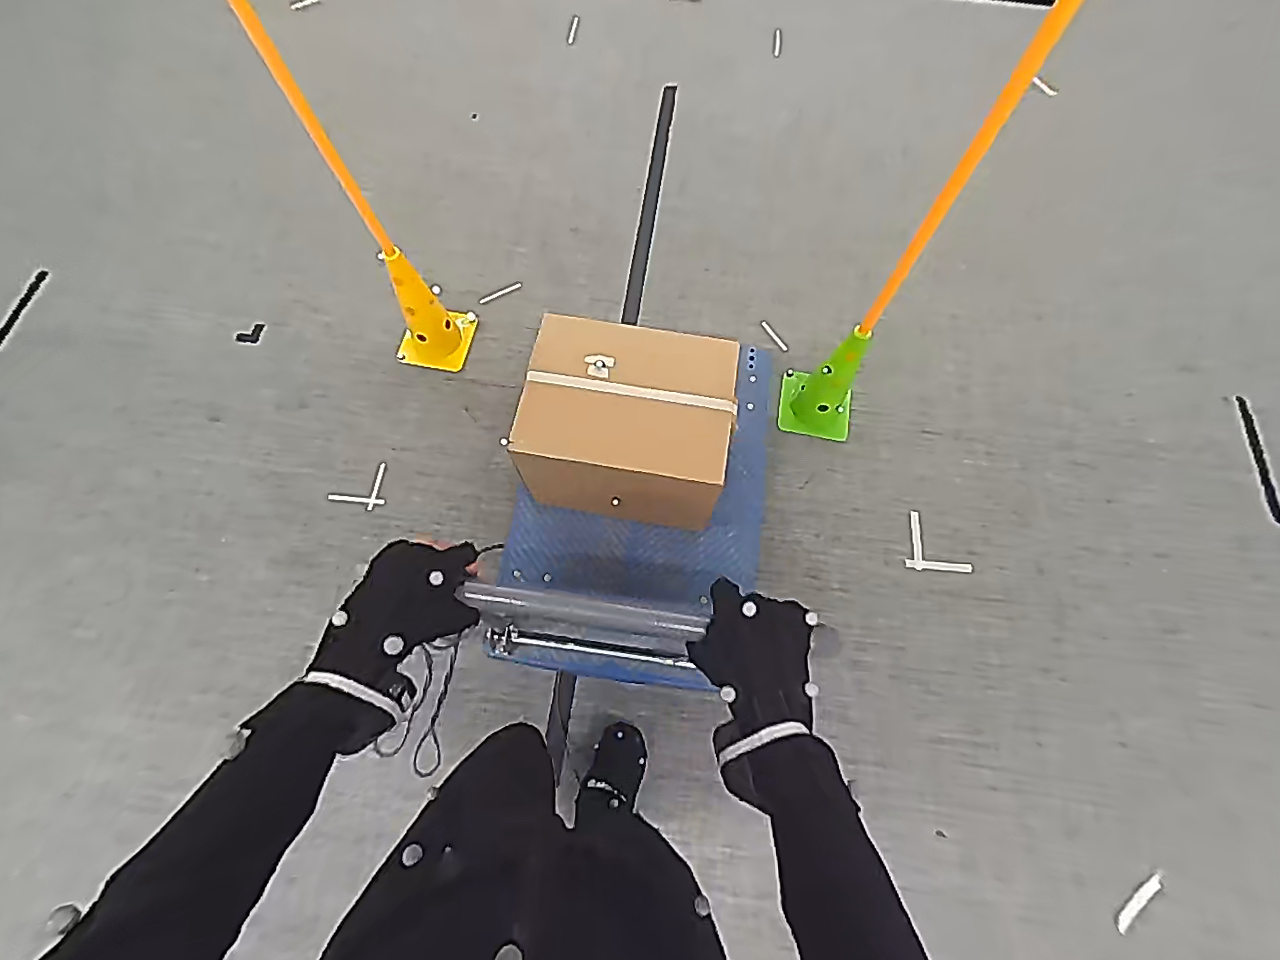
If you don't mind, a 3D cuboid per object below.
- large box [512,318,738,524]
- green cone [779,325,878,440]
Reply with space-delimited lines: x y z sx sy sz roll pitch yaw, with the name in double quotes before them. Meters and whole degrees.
"large box" -0.019 -0.112 1.185 0.408 0.320 0.320 10 69 4
"green cone" 0.515 -0.277 1.407 0.202 0.368 0.200 12 70 2
